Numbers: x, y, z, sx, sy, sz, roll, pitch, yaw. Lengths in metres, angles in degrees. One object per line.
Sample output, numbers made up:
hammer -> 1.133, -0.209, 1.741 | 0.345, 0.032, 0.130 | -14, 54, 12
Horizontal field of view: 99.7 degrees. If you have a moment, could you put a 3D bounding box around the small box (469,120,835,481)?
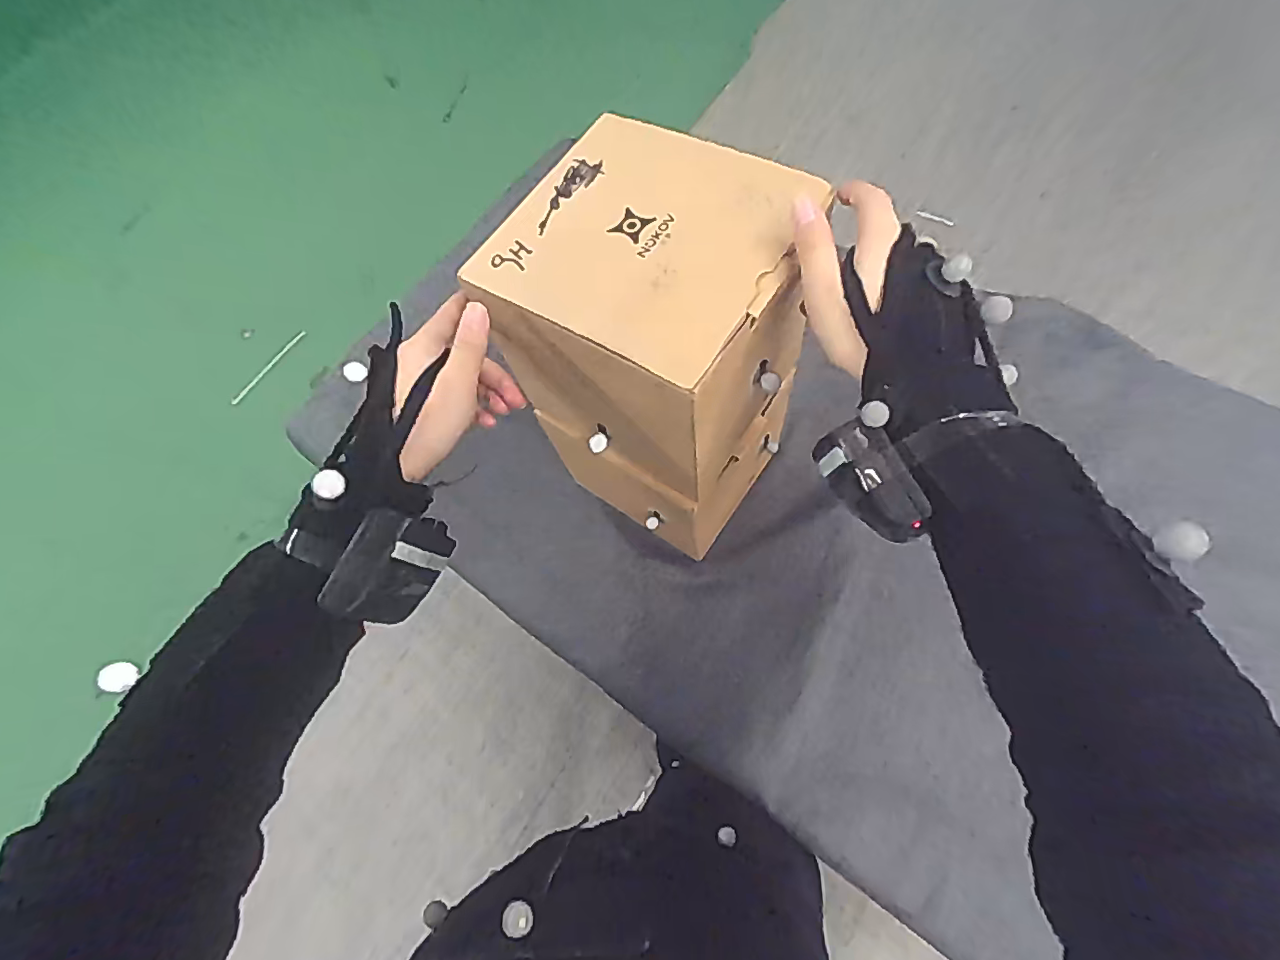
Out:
small box -> 0.015, -0.119, 0.409 | 0.179, 0.176, 0.168 | 30, 74, 18

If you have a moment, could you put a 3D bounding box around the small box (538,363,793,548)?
small box -> 0.031, -0.048, 0.557 | 0.179, 0.176, 0.168 | 31, 73, 19
